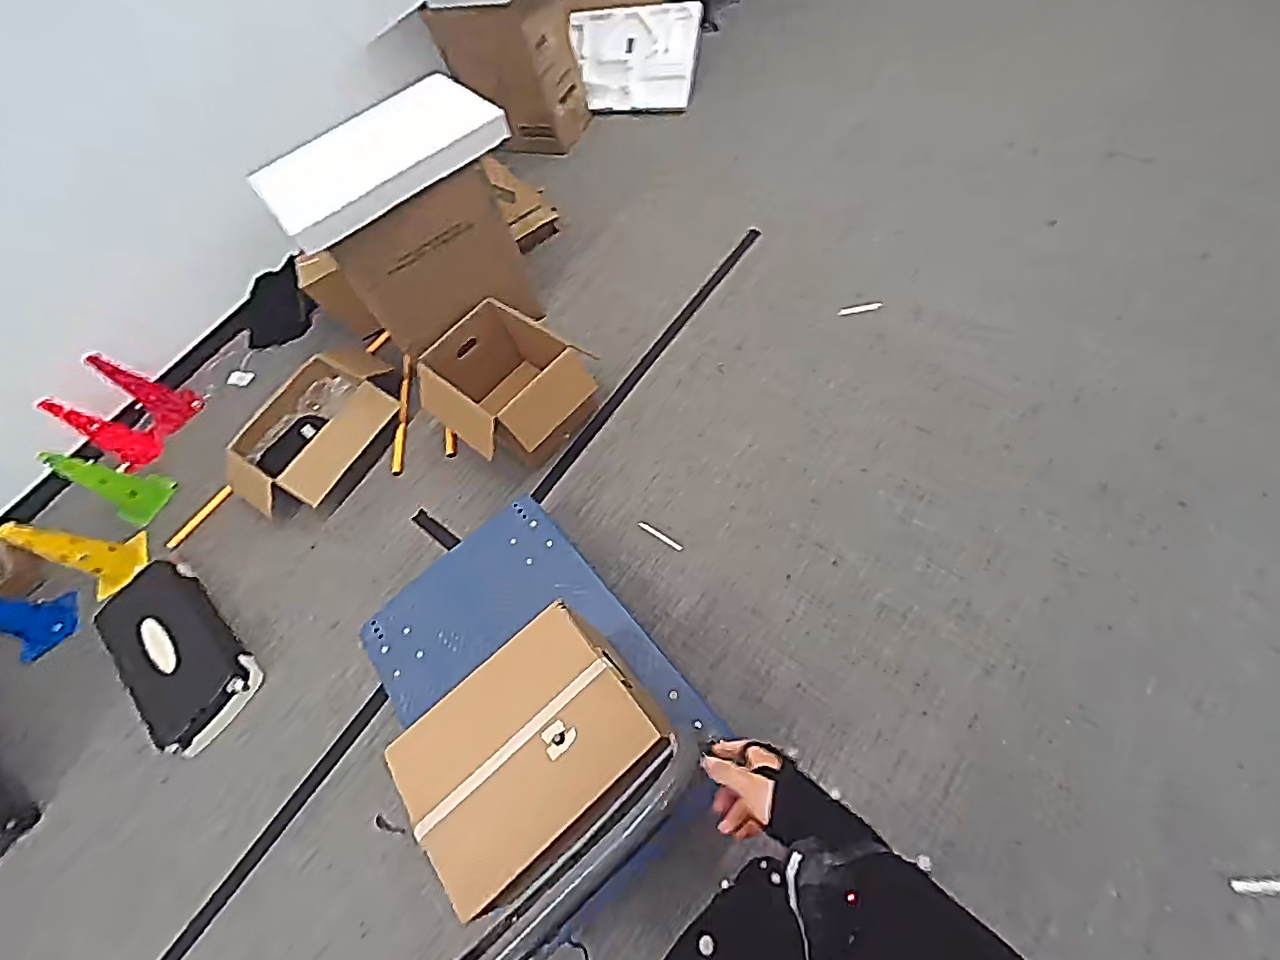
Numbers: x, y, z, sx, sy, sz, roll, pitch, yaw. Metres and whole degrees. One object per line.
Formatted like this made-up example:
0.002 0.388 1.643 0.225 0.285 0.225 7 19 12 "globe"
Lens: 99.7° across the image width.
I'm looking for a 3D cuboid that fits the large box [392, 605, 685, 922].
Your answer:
-0.174 0.528 1.052 0.408 0.320 0.320 -41 60 -10 "large box"
